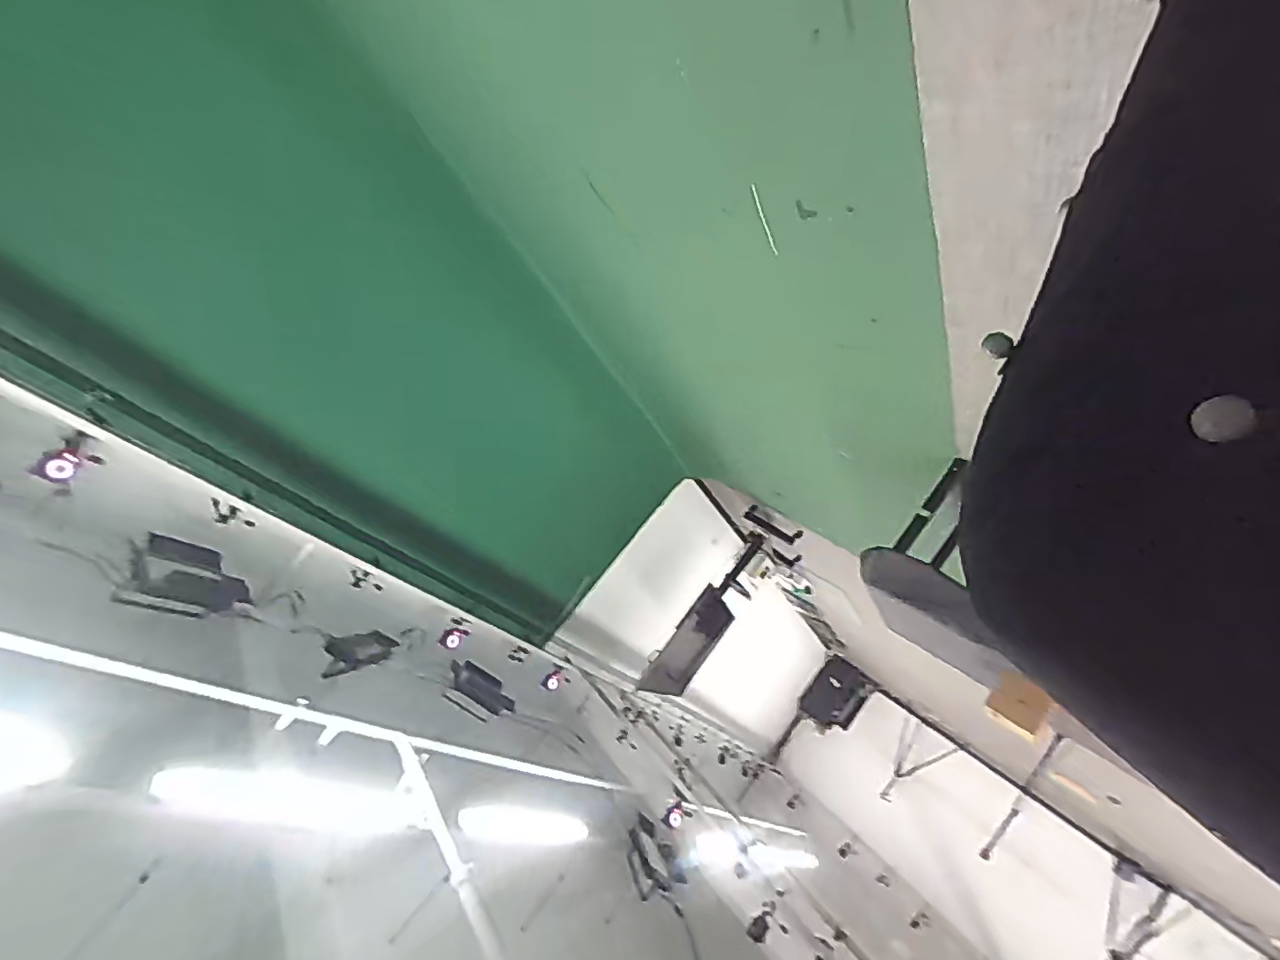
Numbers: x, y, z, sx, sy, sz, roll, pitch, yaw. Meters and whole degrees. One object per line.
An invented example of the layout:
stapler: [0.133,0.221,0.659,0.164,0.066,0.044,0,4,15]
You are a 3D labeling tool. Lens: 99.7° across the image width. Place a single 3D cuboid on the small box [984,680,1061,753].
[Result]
small box: [1.405,0.863,1.991,0.179,0.176,0.168,30,168,45]
